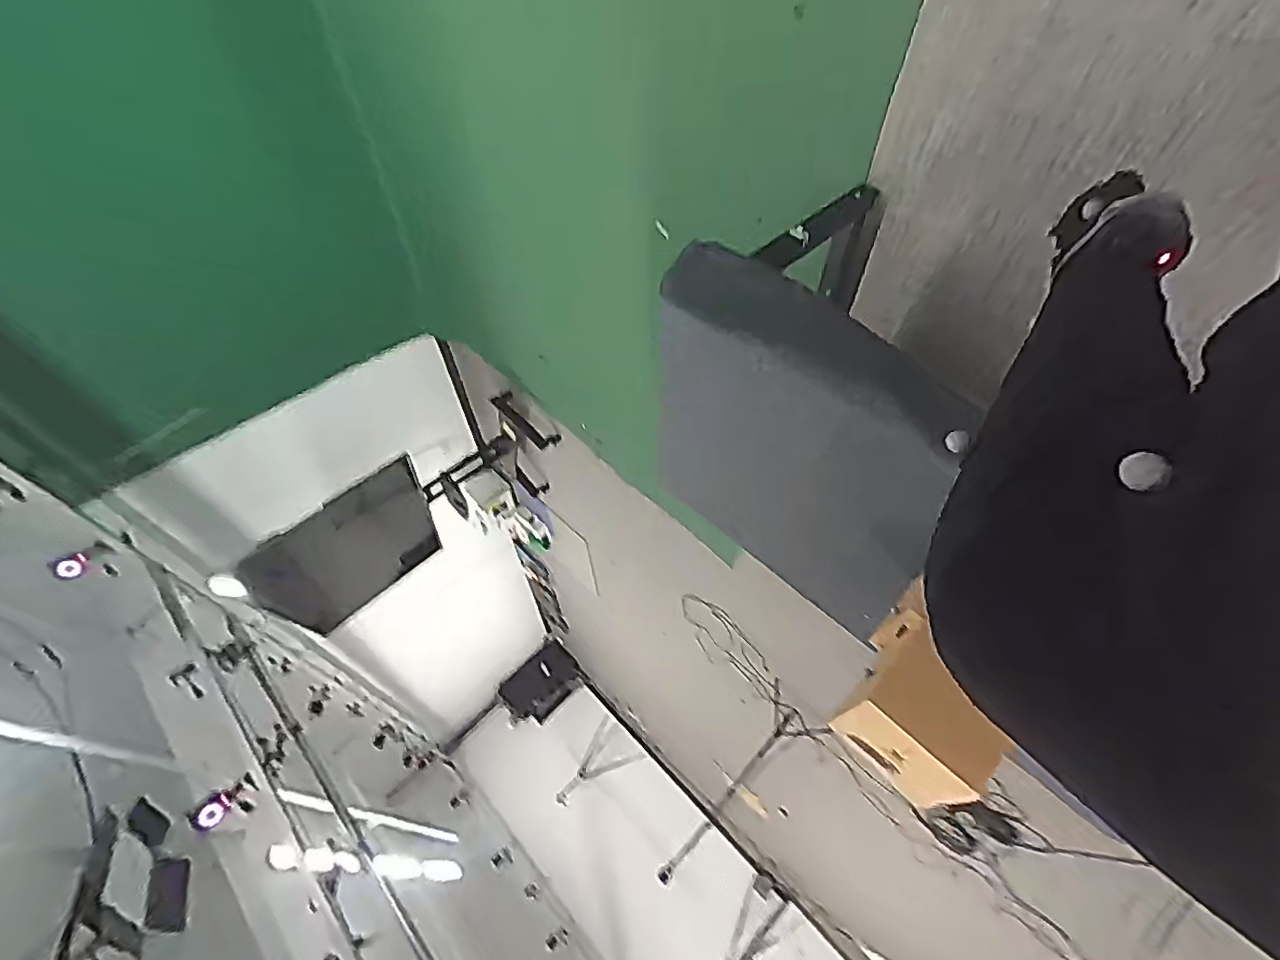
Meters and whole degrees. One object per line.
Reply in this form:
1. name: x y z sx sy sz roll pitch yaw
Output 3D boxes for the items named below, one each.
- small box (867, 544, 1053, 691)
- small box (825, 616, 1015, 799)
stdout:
1. small box: 0.521 0.239 0.888 0.179 0.176 0.168 41 154 21
2. small box: 0.414 0.340 0.812 0.168 0.176 0.179 40 155 26
